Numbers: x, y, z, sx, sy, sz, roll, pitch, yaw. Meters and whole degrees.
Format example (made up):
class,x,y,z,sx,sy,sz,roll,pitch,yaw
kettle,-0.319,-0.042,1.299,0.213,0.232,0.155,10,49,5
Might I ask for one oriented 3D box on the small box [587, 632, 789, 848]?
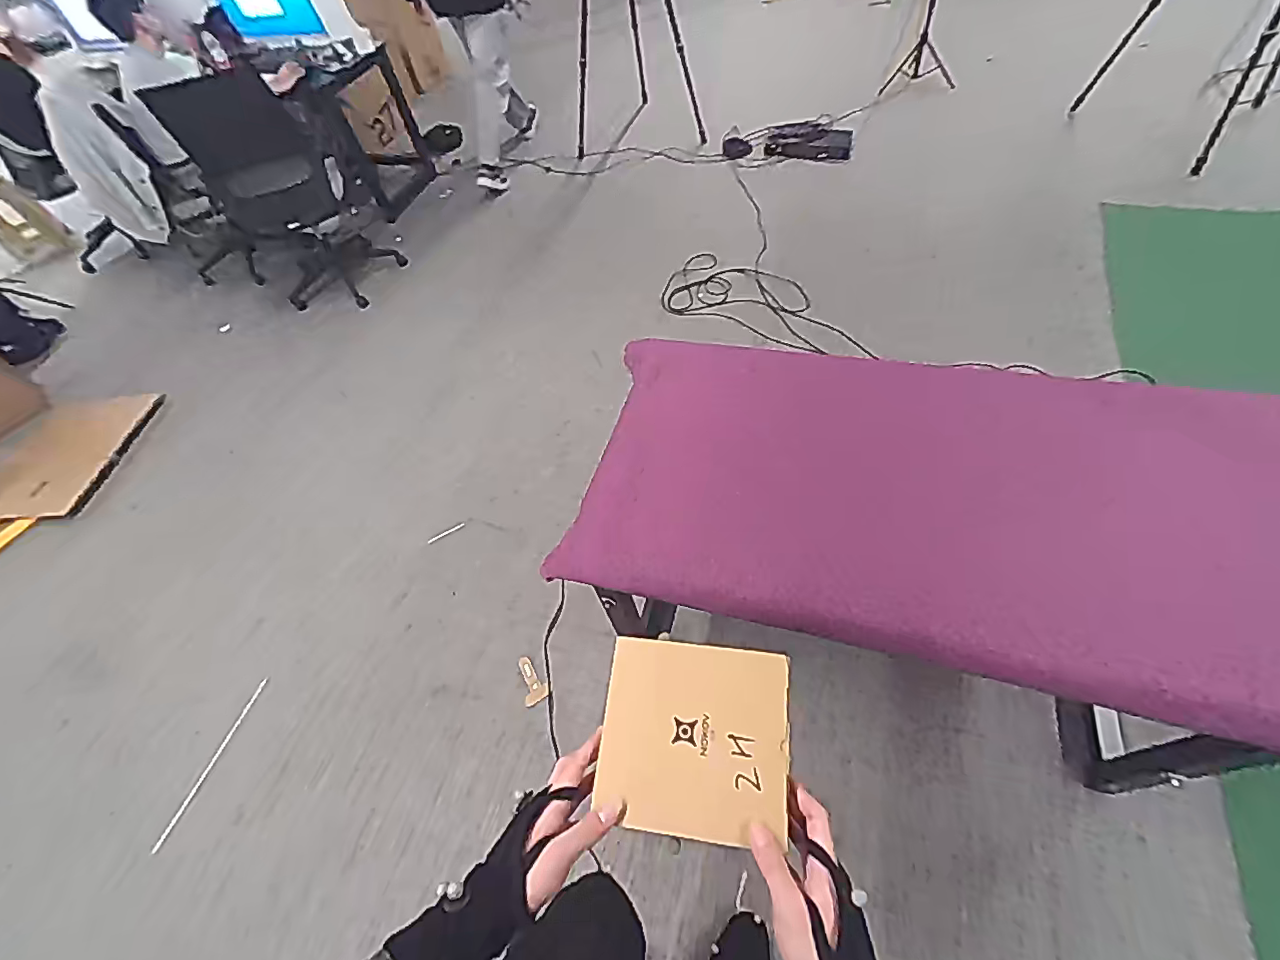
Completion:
class,x,y,z,sx,sy,sz,roll,pitch,yaw
small box,0.058,0.272,0.571,0.179,0.176,0.168,4,61,10
